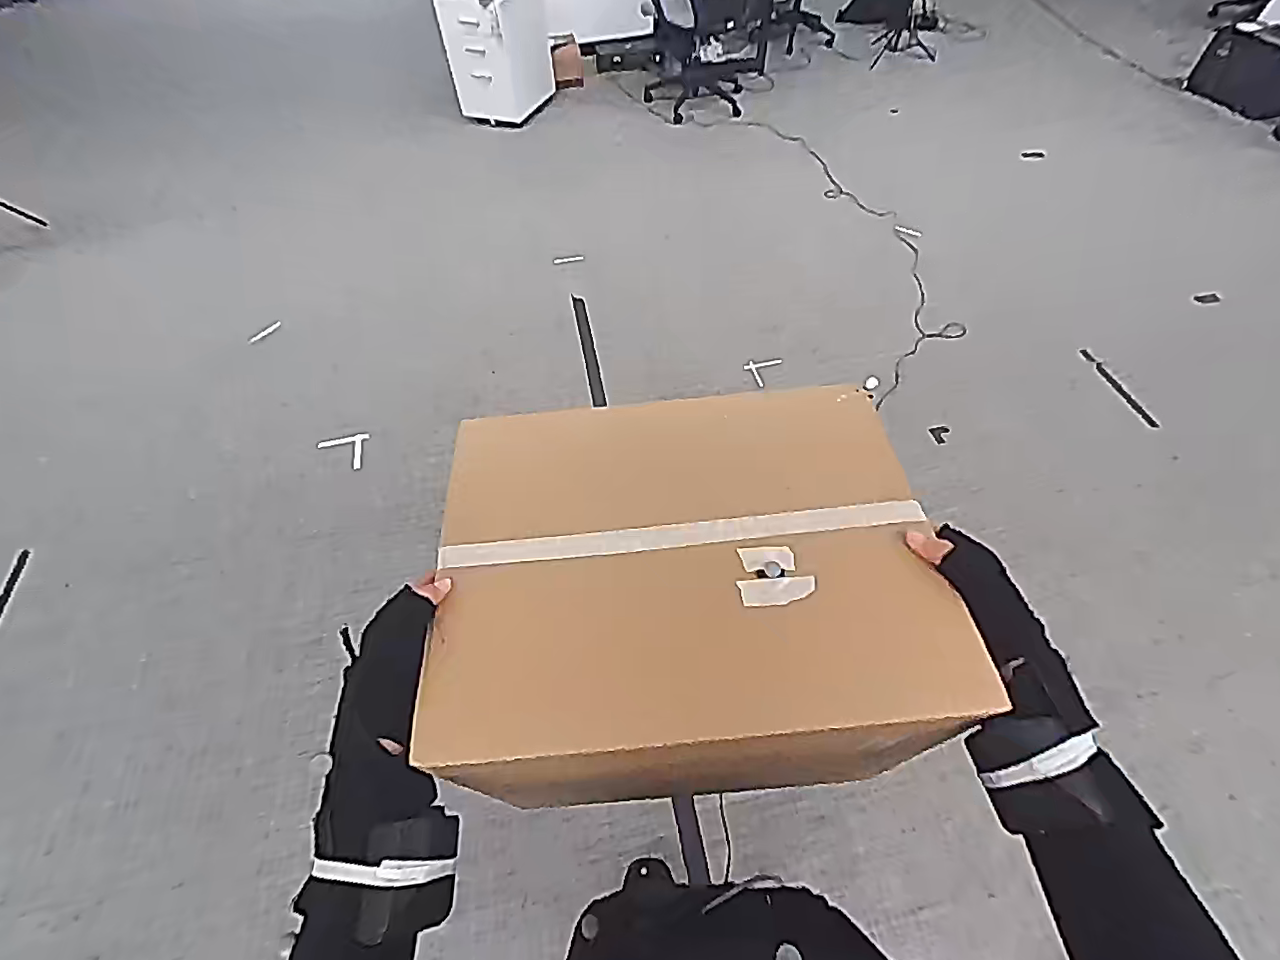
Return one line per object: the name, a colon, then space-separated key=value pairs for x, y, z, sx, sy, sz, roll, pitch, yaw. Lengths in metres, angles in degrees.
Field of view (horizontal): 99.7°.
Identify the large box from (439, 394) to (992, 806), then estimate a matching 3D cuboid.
large box: x=0.048 y=0.140 z=0.585 sx=0.408 sy=0.320 sz=0.320 roll=-5 pitch=55 yaw=0
